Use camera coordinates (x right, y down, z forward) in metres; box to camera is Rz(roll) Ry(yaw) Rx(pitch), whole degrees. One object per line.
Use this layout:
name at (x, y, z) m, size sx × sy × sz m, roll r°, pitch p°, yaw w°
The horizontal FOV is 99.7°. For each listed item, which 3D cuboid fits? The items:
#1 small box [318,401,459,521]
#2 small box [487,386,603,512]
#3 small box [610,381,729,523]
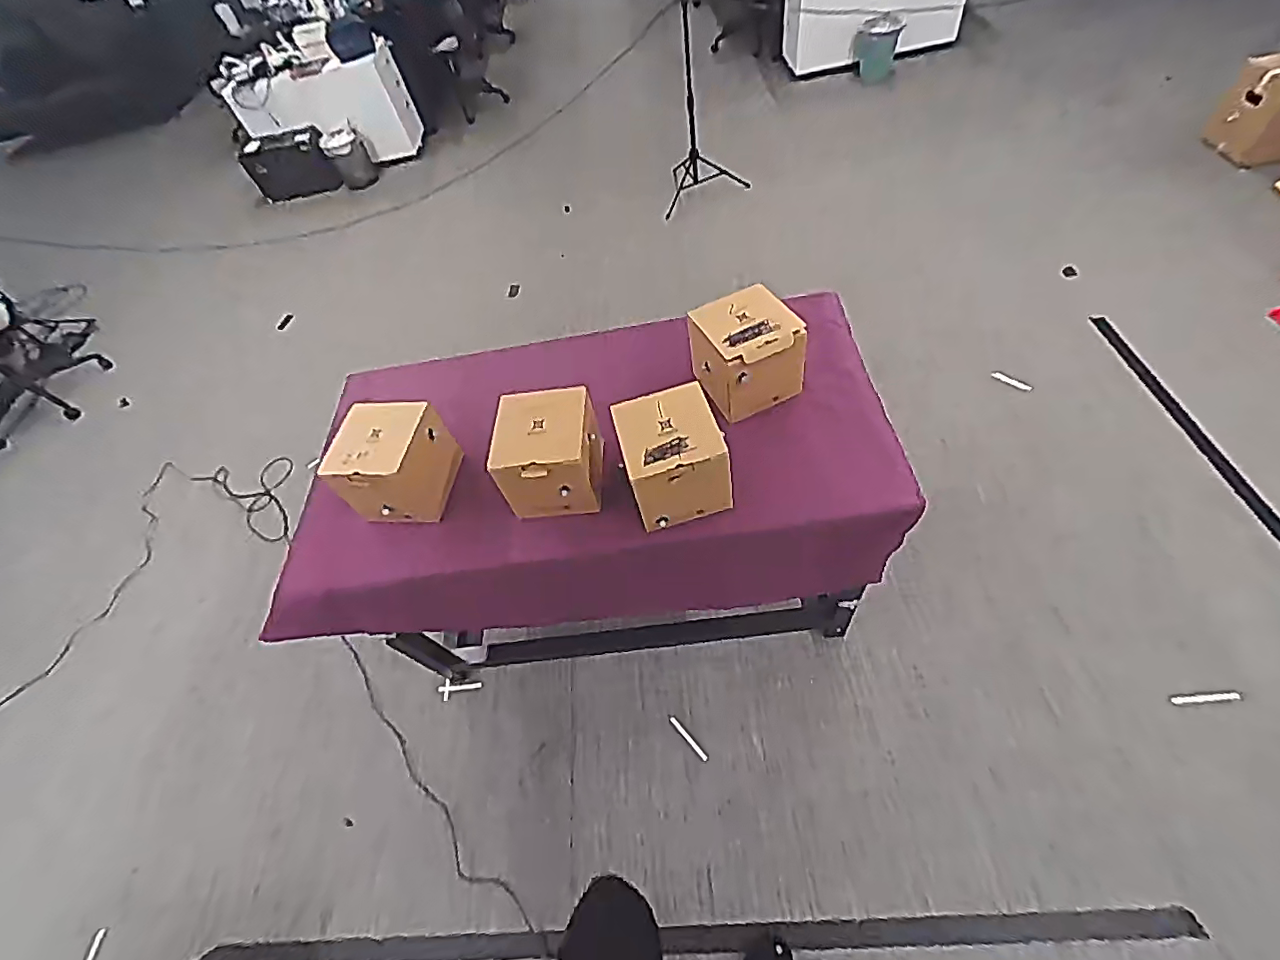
small box at (-0.481, -0.037, 1.070) m, size 0.168 × 0.176 × 0.179 m, roll 0°, pitch 56°, yaw 12°
small box at (-0.168, -0.050, 1.022) m, size 0.168 × 0.176 × 0.179 m, roll -4°, pitch 54°, yaw 7°
small box at (0.056, -0.041, 0.970) m, size 0.168 × 0.176 × 0.179 m, roll -16°, pitch 53°, yaw 0°
